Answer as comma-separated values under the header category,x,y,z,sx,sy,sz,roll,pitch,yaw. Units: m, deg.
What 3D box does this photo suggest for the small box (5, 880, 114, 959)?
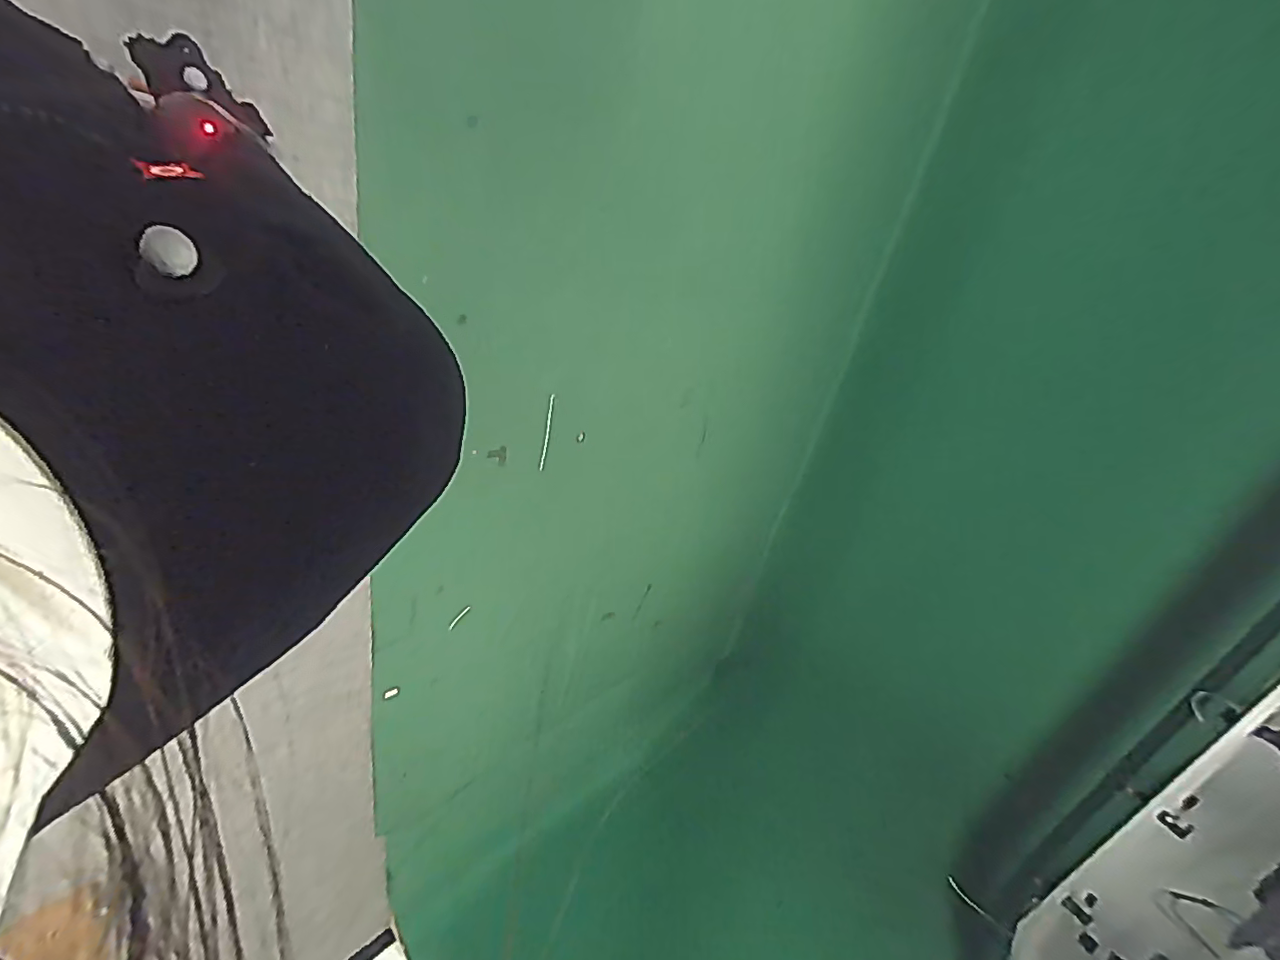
category,x,y,z,sx,sy,sz,roll,pitch,yaw
small box,-1.614,1.280,1.503,0.179,0.176,0.168,-19,132,-45

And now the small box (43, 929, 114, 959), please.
category,x,y,z,sx,sy,sz,roll,pitch,yaw
small box,-1.497,1.346,1.410,0.179,0.176,0.168,-15,129,-45
